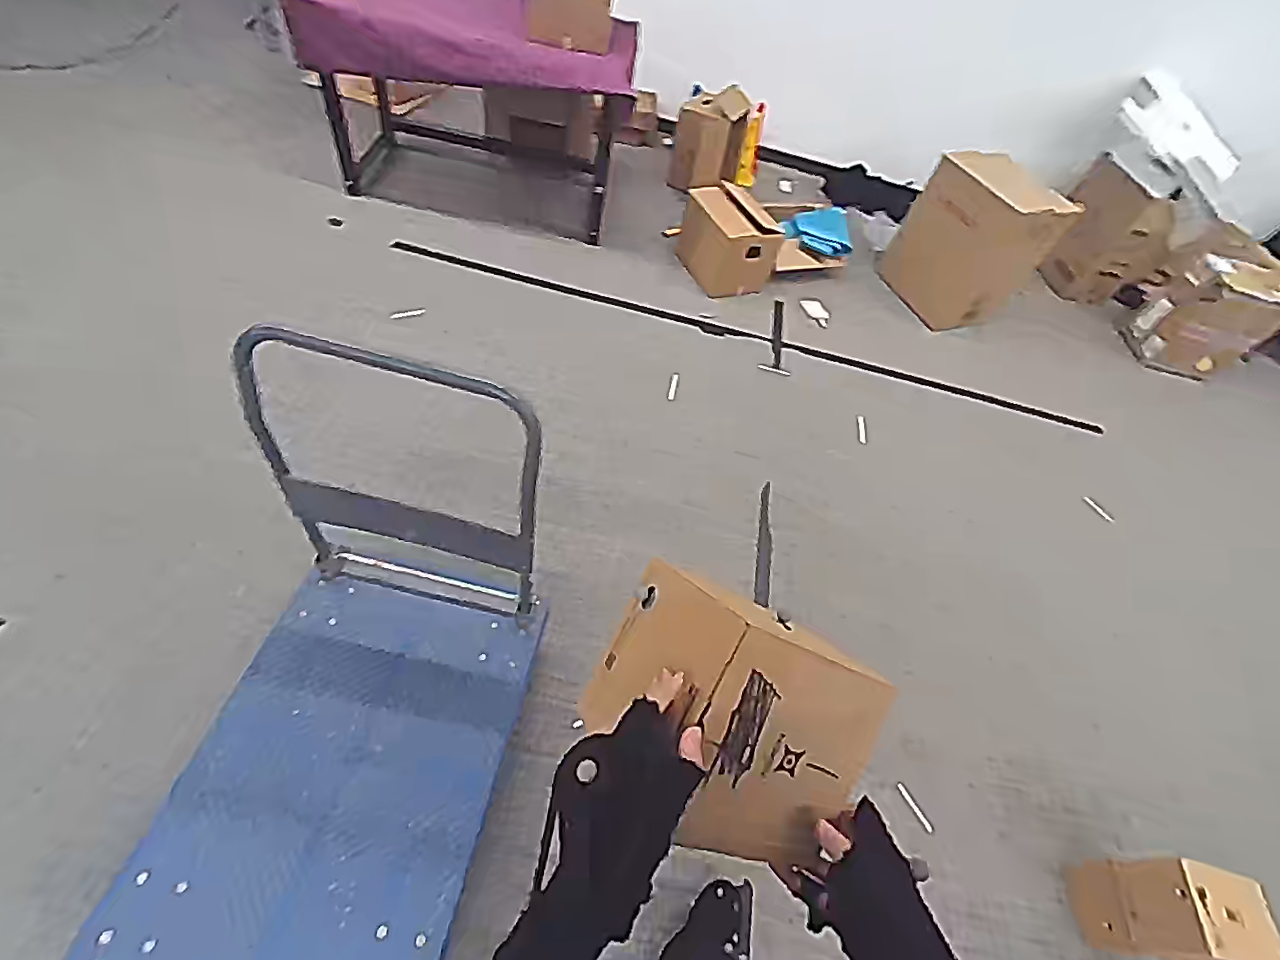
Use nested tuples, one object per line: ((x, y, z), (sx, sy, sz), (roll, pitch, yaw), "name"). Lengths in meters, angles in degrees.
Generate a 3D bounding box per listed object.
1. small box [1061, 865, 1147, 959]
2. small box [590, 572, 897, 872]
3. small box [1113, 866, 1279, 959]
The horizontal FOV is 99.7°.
((1.161, 1.035, 1.284), (0.168, 0.176, 0.179), (13, 51, -5), "small box")
((0.079, 0.199, 0.485), (0.179, 0.176, 0.168), (29, 87, -24), "small box")
((1.177, 0.941, 1.149), (0.179, 0.176, 0.168), (18, 52, -1), "small box")
